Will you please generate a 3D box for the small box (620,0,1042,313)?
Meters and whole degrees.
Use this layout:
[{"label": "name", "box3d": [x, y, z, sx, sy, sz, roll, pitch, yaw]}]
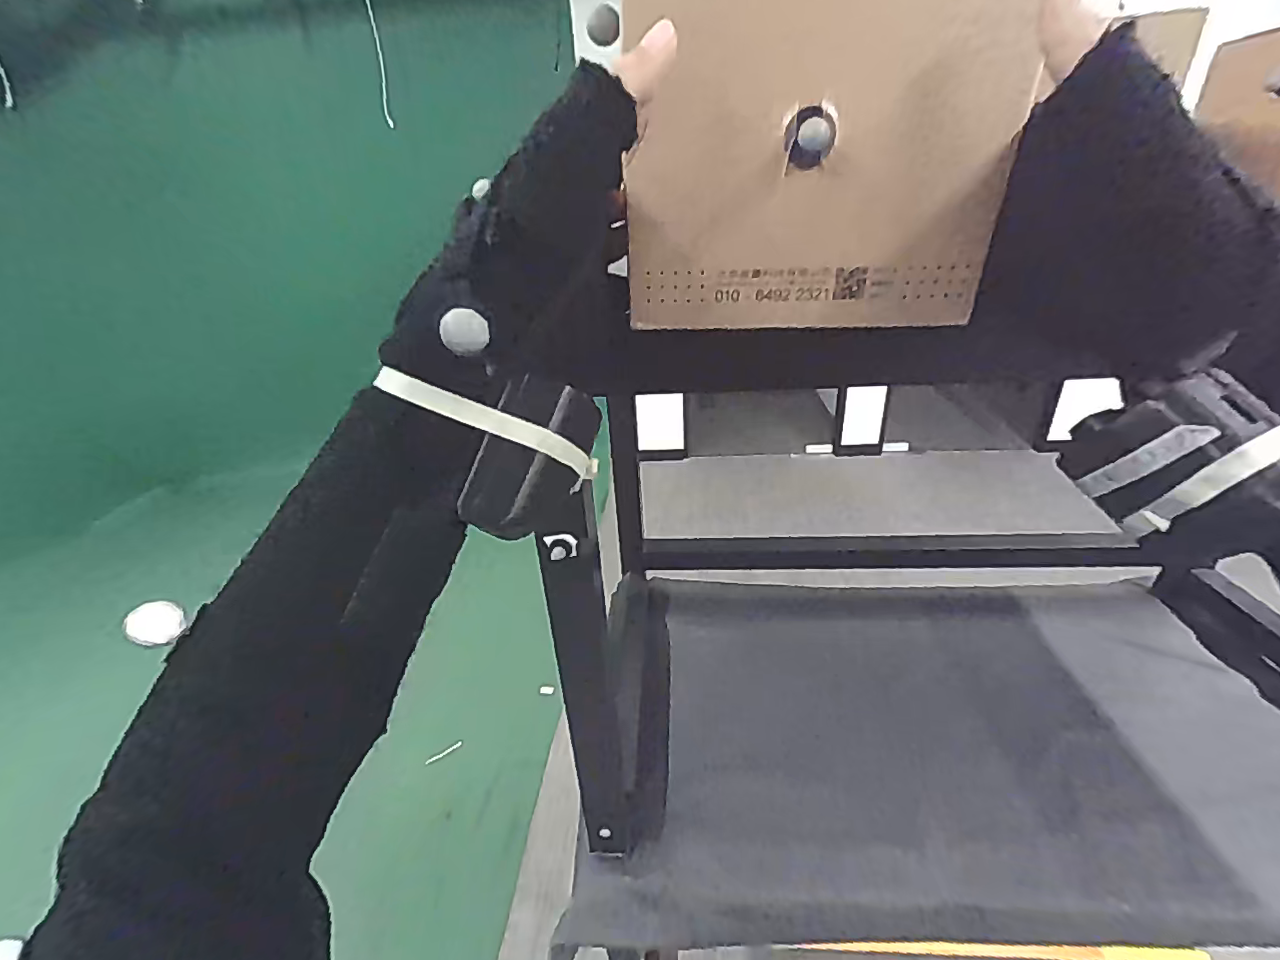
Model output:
[{"label": "small box", "box3d": [0.078, -0.190, 0.289, 0.168, 0.176, 0.179, 0, 30, 2]}]
